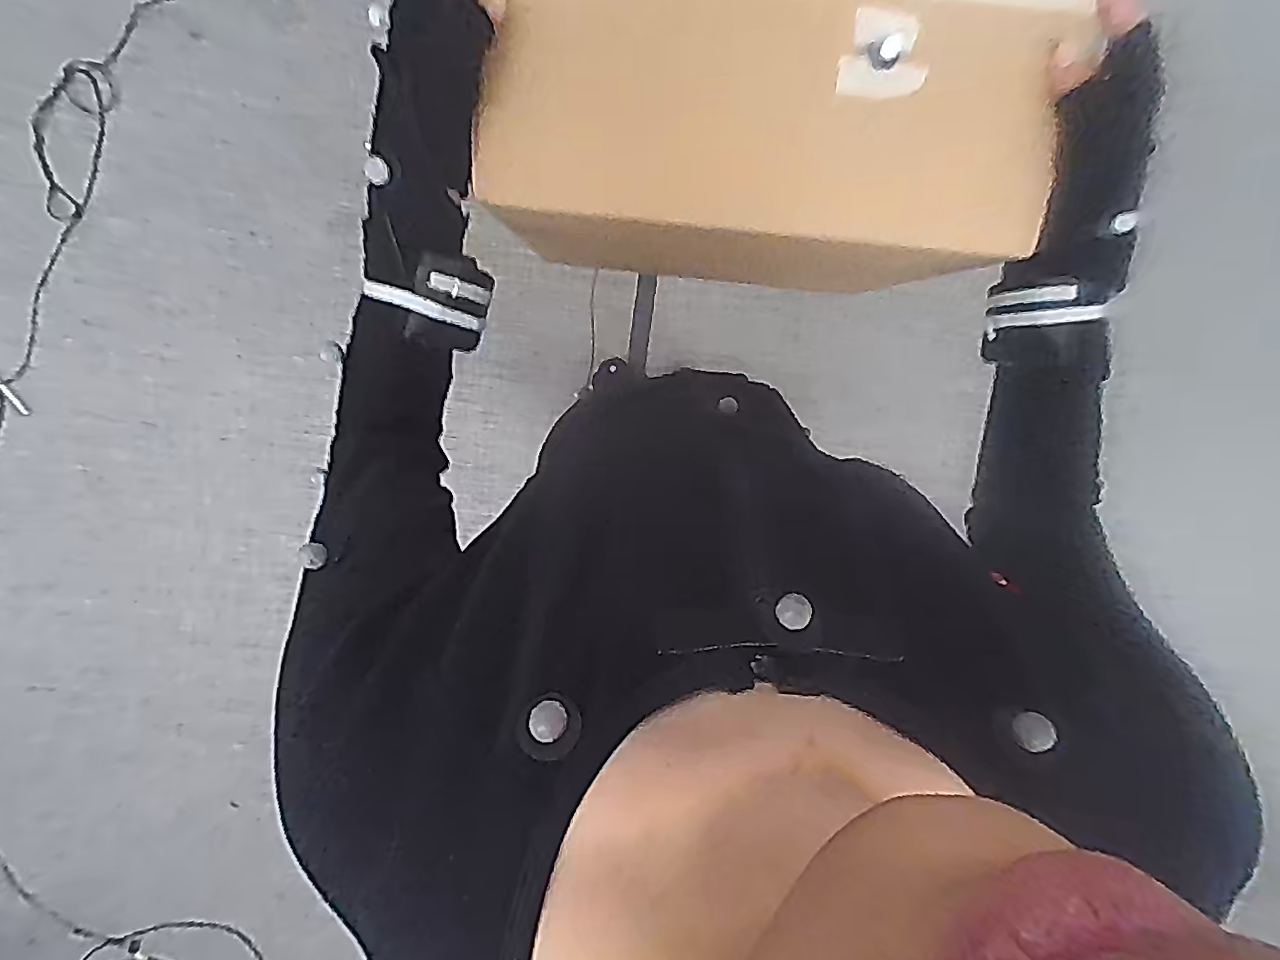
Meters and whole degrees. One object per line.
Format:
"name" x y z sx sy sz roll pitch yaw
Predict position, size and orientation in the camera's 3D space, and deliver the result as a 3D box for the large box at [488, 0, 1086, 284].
"large box" 0.094 -0.372 0.496 0.408 0.320 0.320 4 104 -3
